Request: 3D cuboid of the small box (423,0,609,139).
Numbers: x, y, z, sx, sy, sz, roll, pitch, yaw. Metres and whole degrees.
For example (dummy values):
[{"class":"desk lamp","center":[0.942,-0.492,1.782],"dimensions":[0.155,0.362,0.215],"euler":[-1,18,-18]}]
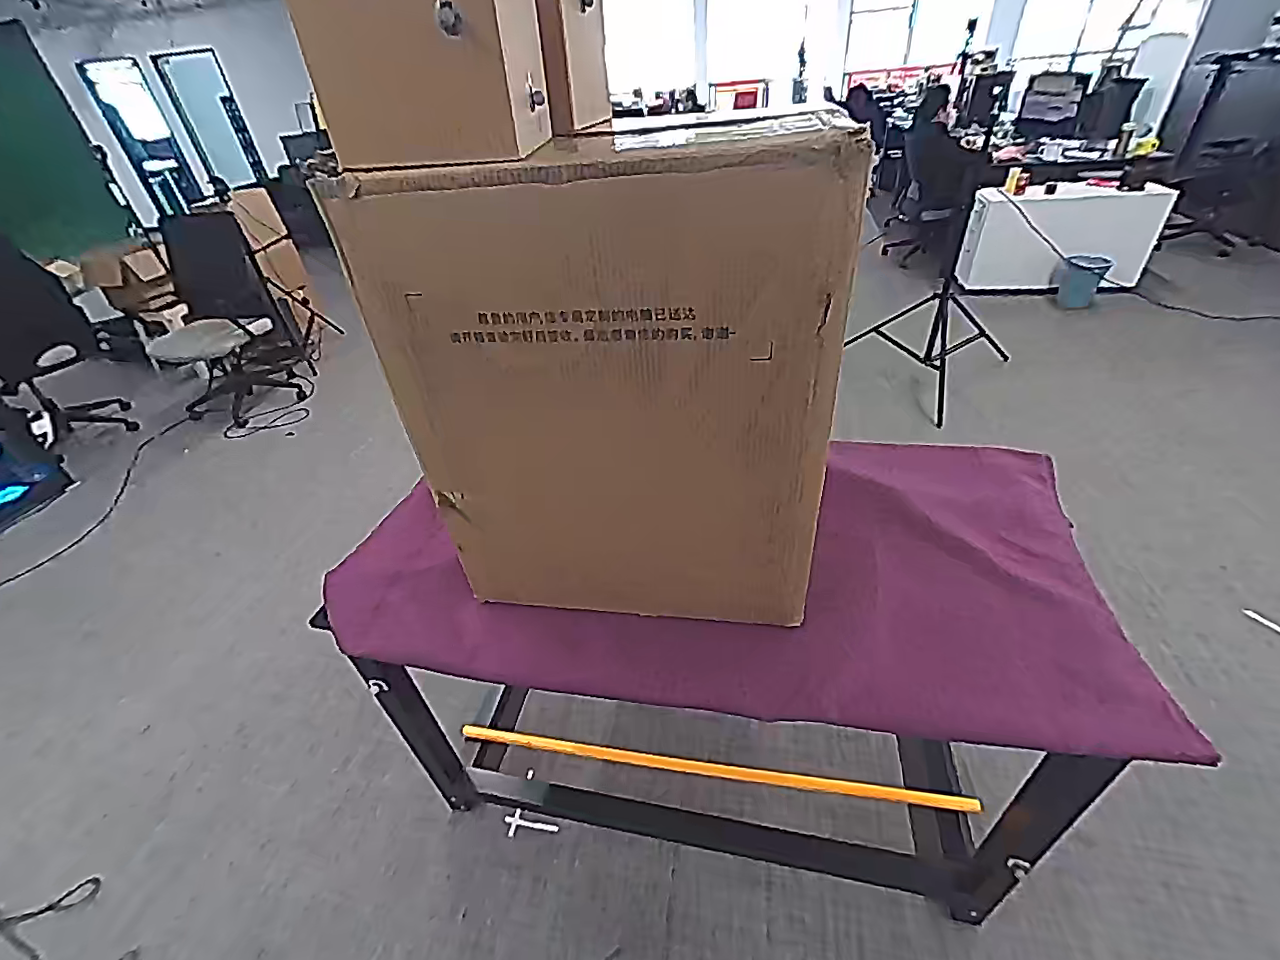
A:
[{"class":"small box","center":[-0.142,-0.539,0.688],"dimensions":[0.168,0.176,0.179],"euler":[5,38,12]}]
